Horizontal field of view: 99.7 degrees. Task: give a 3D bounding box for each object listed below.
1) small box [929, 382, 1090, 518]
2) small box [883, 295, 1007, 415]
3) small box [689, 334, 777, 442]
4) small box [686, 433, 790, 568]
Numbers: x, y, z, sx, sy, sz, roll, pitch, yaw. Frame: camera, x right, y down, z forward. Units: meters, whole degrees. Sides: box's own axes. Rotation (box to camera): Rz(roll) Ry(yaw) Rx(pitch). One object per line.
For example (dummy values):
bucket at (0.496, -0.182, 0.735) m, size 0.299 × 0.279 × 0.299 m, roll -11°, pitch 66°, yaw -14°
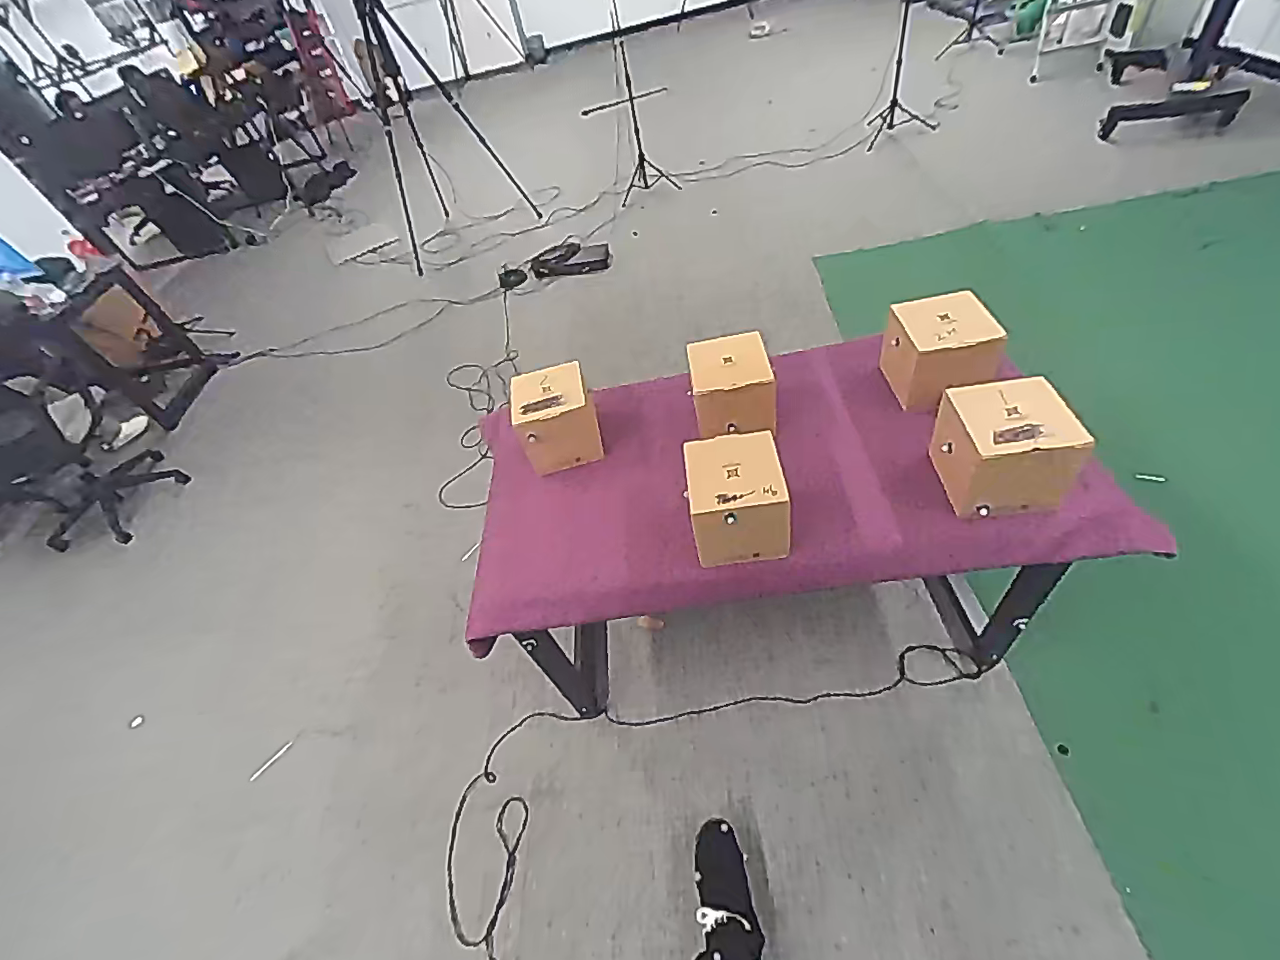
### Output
small box at (0.641, -0.046, 0.965) m, size 0.168 × 0.176 × 0.179 m, roll -6°, pitch 47°, yaw 10°
small box at (0.637, -0.264, 1.158) m, size 0.168 × 0.176 × 0.179 m, roll -9°, pitch 49°, yaw 8°
small box at (0.204, -0.197, 1.210) m, size 0.168 × 0.176 × 0.179 m, roll -9°, pitch 49°, yaw 6°
small box at (0.179, 0.040, 1.005) m, size 0.168 × 0.176 × 0.179 m, roll -8°, pitch 46°, yaw 8°
